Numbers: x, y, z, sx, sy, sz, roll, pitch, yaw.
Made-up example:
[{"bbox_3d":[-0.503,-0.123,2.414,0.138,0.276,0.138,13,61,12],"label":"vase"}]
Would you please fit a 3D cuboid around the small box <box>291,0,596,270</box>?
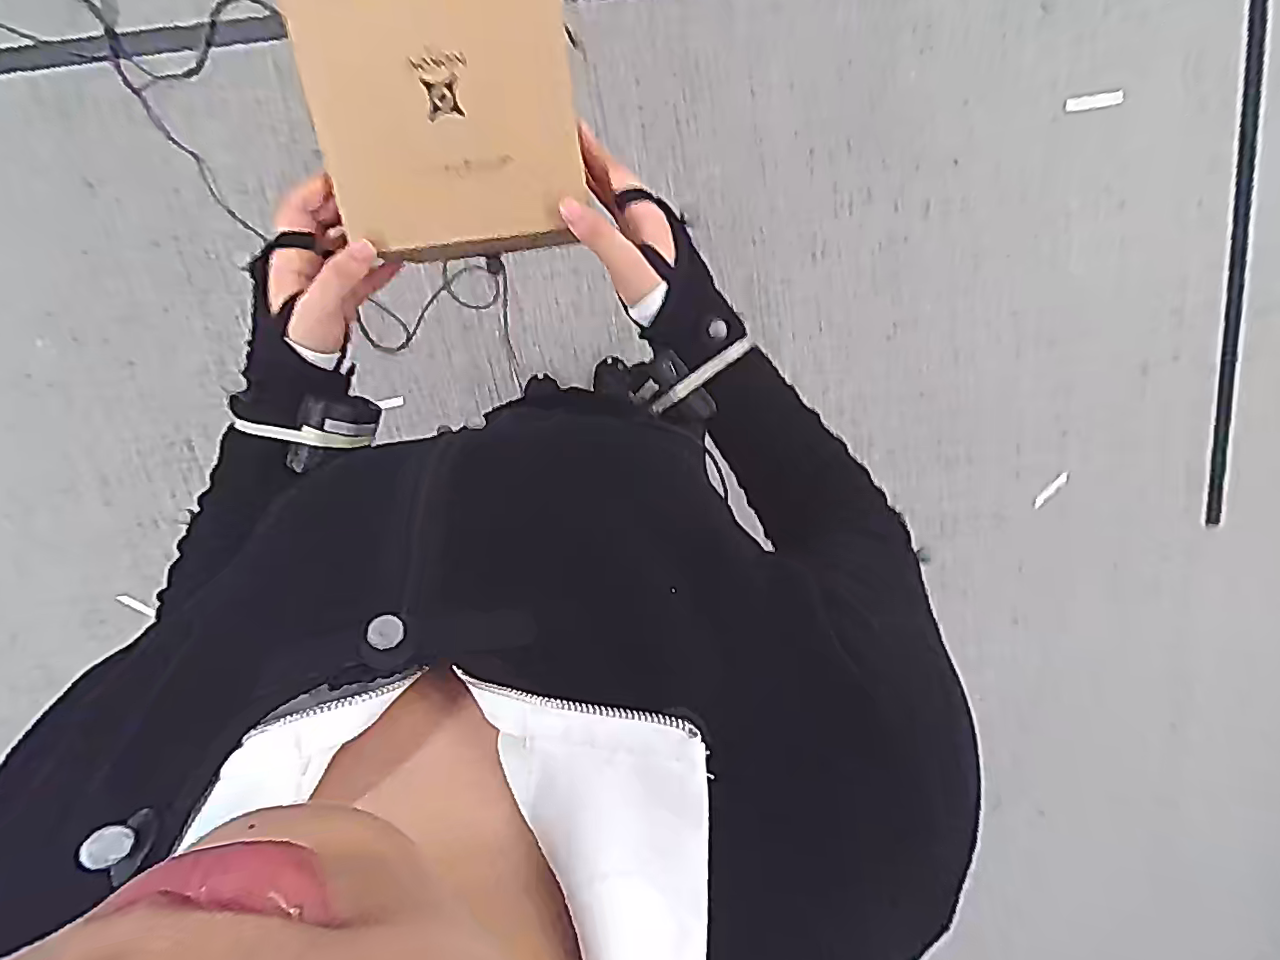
[{"bbox_3d":[-0.126,-0.267,0.418,0.168,0.176,0.179,-7,109,-1],"label":"small box"}]
